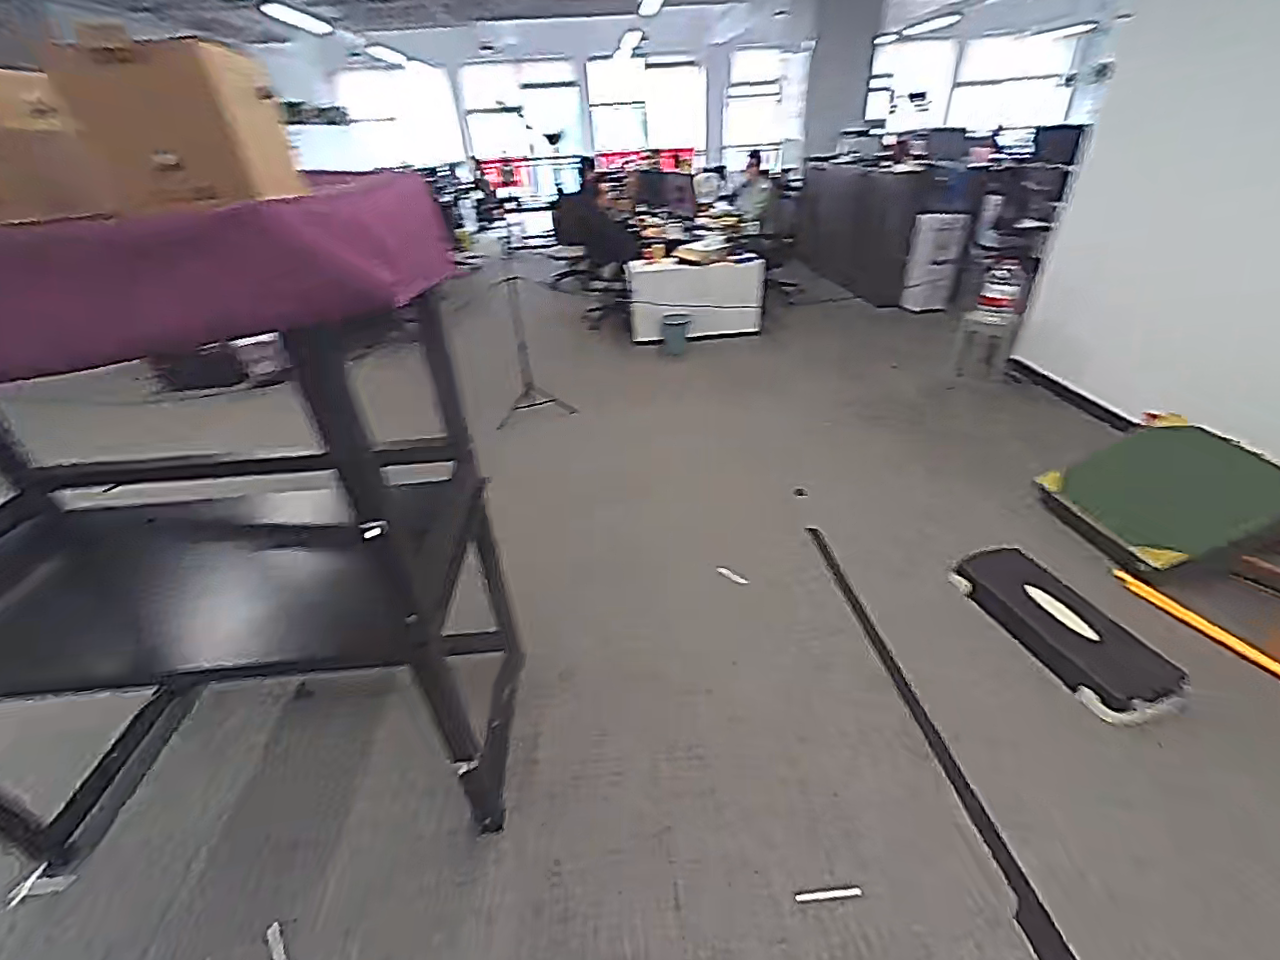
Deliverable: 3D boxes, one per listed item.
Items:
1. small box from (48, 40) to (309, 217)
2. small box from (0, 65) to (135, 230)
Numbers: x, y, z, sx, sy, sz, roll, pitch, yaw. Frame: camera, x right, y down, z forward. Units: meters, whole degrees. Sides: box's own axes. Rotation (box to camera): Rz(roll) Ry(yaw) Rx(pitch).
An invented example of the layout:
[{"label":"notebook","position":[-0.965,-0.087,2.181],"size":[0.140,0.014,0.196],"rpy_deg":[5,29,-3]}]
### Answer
[{"label":"small box","position":[-0.557,-0.439,0.691],"size":[0.168,0.176,0.179],"rpy_deg":[-9,32,-7]},{"label":"small box","position":[-0.820,-0.422,0.698],"size":[0.168,0.176,0.179],"rpy_deg":[-6,32,-5]}]
